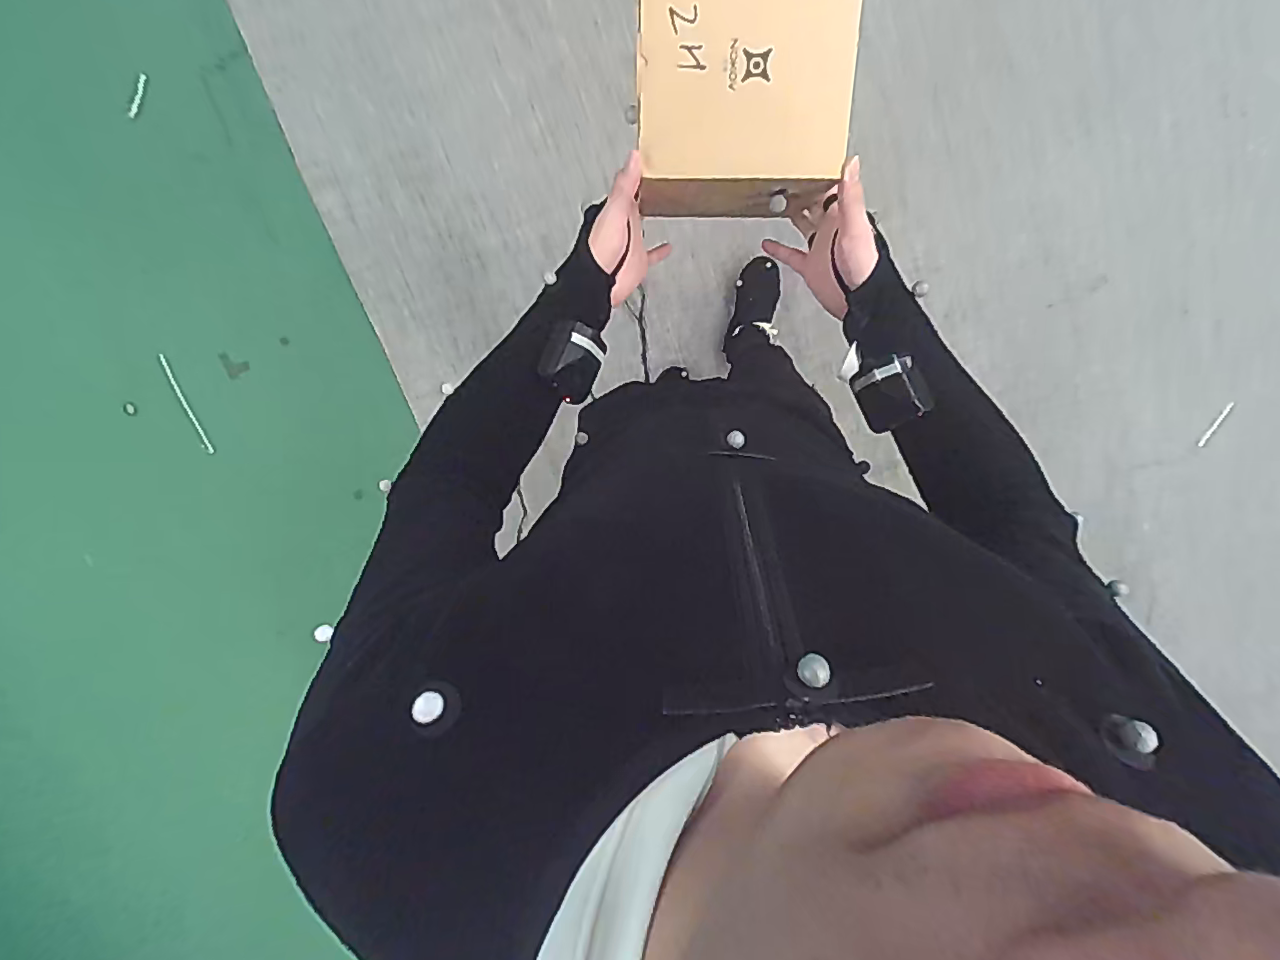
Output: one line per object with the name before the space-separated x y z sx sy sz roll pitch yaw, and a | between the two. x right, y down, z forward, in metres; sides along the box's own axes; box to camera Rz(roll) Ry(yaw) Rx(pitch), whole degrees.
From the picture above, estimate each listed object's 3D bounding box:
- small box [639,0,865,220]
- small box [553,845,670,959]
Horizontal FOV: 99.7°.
small box | 0.089 -0.352 0.509 0.179 0.176 0.168 1 105 1
small box | -0.046 0.835 1.027 0.179 0.176 0.168 -16 103 6
